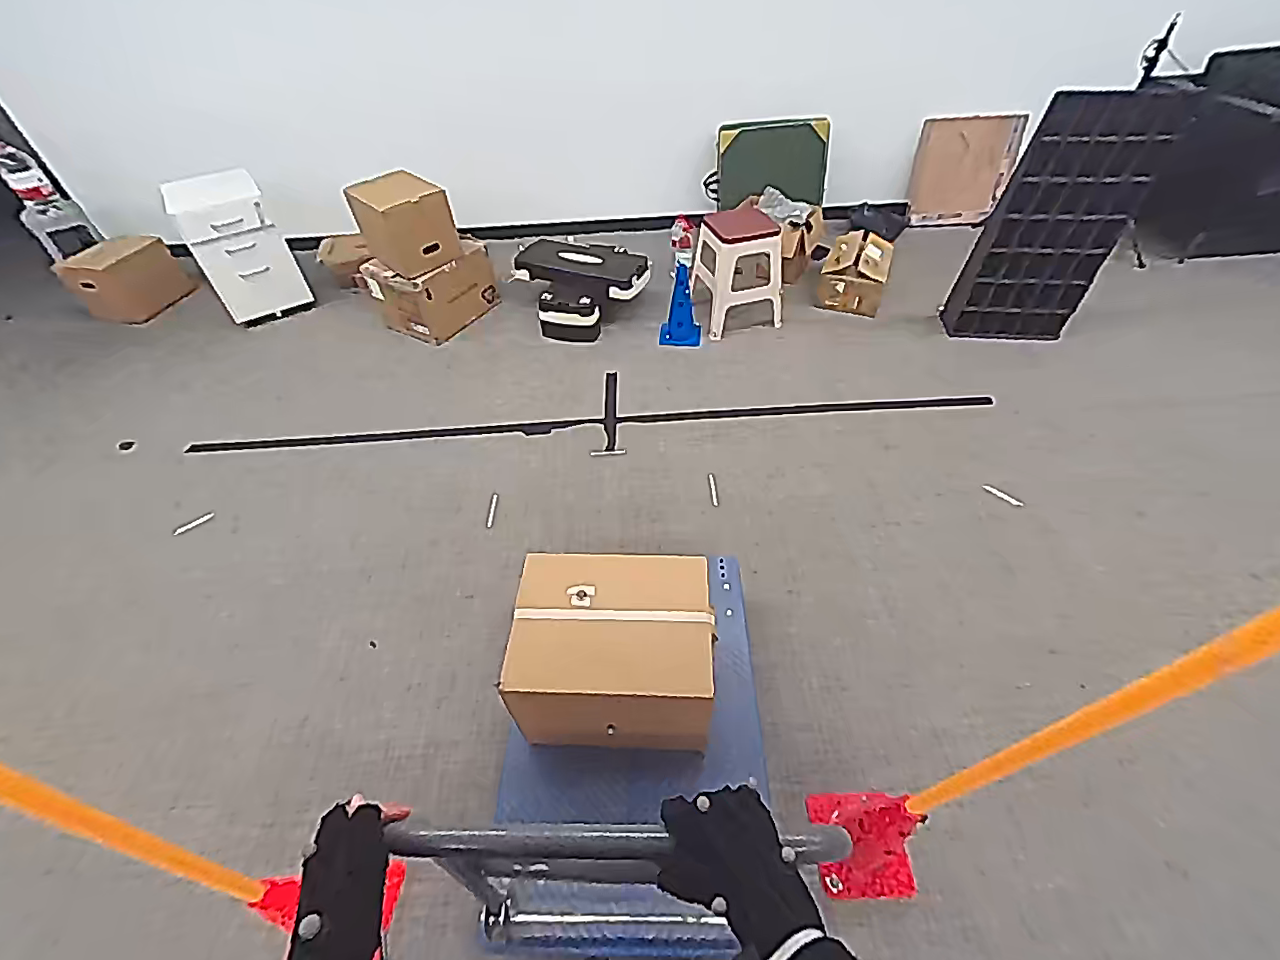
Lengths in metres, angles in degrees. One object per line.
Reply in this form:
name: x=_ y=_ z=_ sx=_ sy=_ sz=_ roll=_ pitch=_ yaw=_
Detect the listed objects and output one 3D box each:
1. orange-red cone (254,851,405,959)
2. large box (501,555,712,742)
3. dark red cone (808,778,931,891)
orange-red cone: x=-0.638 y=0.810 z=1.049 sx=0.198 sy=0.360 sz=0.199 roll=3 pitch=46 yaw=5
large box: x=-0.053 y=0.382 z=1.219 sx=0.408 sy=0.320 sz=0.320 roll=0 pitch=47 yaw=4
dark red cone: x=0.488 y=0.679 z=1.083 sx=0.201 sy=0.394 sz=0.202 roll=-1 pitch=47 yaw=-1
